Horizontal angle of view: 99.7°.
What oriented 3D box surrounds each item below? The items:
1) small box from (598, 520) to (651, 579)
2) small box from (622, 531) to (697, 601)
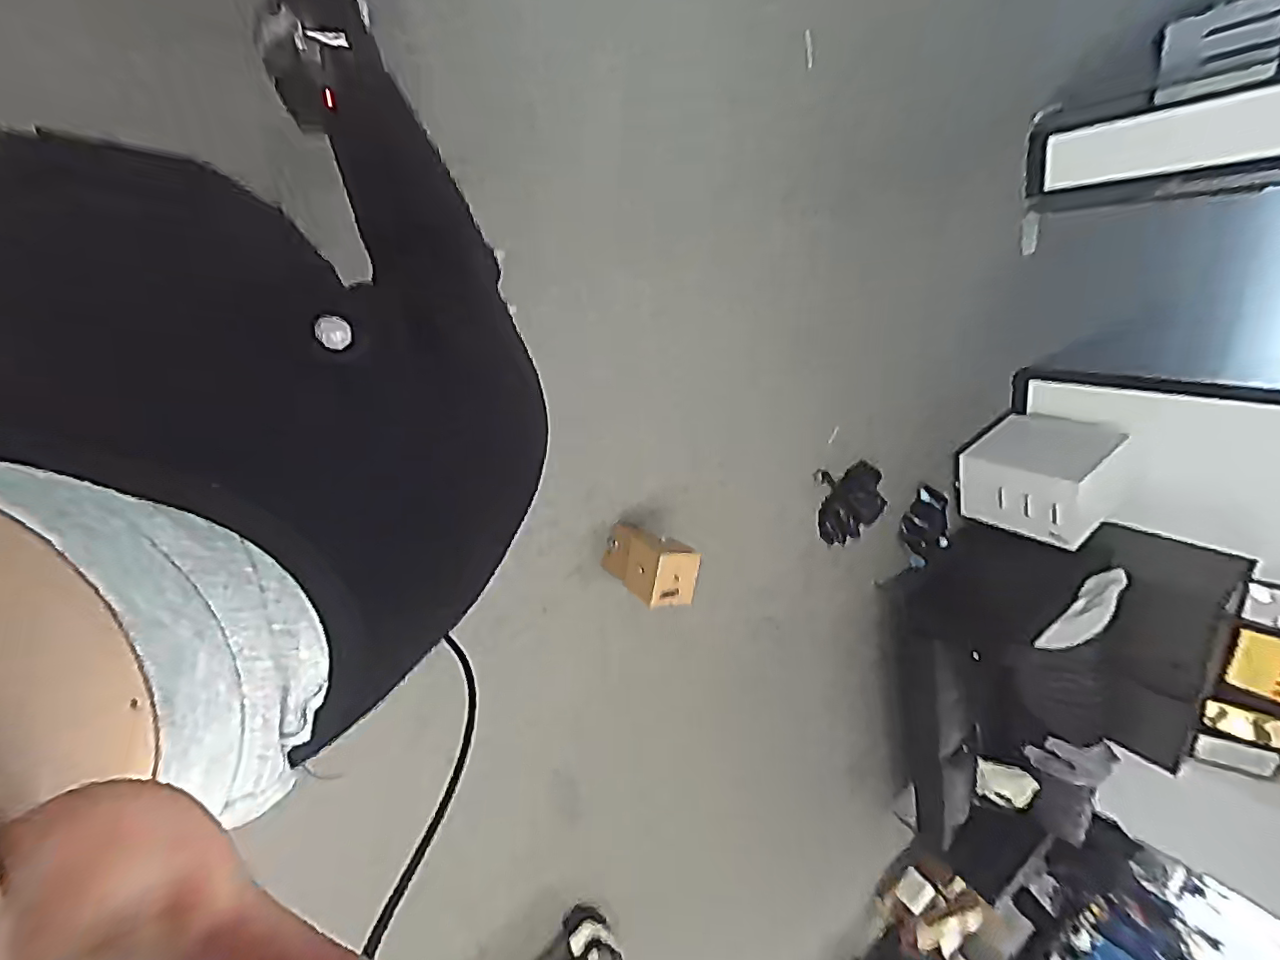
[{"bbox_3d":[-0.019,0.254,1.912,0.179,0.176,0.168,19,94,-35],"label":"small box"},{"bbox_3d":[0.058,0.276,1.765,0.168,0.176,0.179,4,102,-35],"label":"small box"}]
